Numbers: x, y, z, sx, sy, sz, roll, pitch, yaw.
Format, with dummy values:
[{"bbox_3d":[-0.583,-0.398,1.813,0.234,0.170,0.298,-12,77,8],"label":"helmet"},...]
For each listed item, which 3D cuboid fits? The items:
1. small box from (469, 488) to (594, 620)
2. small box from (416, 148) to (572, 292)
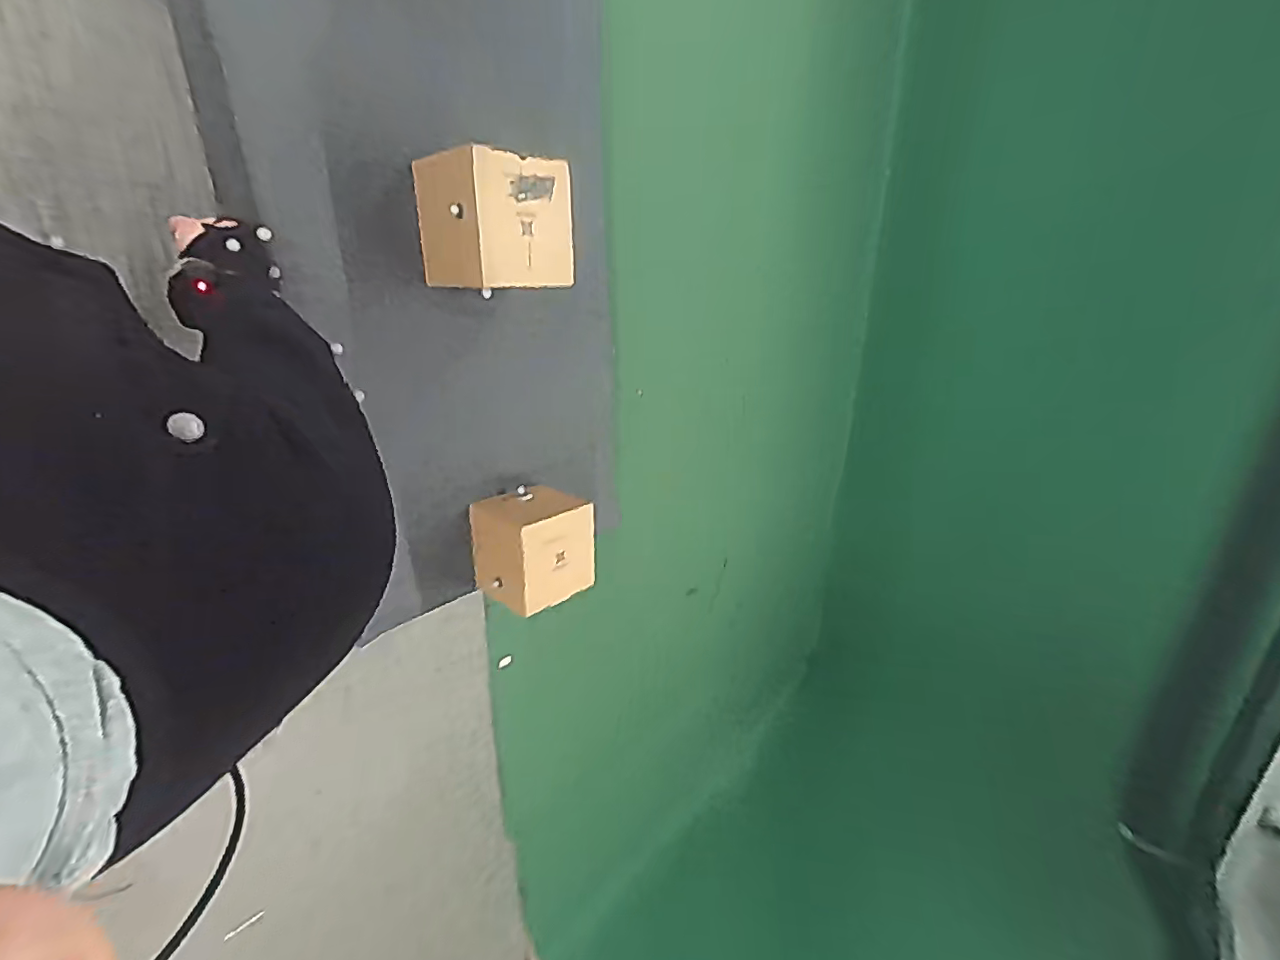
[{"bbox_3d":[-0.205,0.130,1.028,0.168,0.176,0.179,-20,116,-45],"label":"small box"},{"bbox_3d":[-0.221,-0.381,0.822,0.168,0.176,0.179,-20,119,-43],"label":"small box"}]
